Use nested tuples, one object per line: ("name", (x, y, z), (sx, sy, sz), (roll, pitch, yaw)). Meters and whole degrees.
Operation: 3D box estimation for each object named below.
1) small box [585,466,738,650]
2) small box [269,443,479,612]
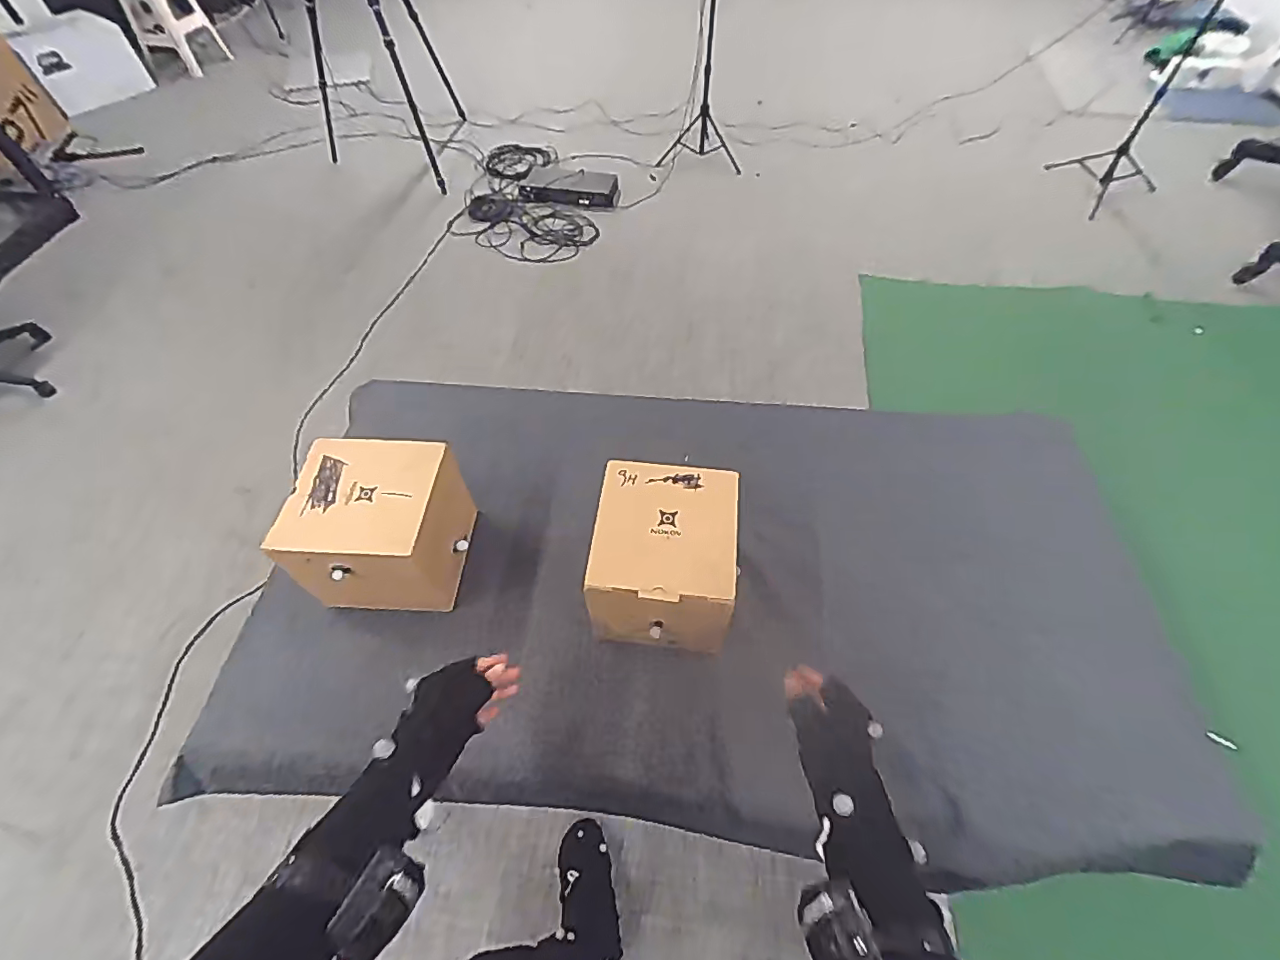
("small box", (0.032, 0.105, 0.698), (0.168, 0.176, 0.179), (5, 56, 4))
("small box", (-0.336, 0.068, 0.726), (0.179, 0.176, 0.168), (3, 55, 1))
